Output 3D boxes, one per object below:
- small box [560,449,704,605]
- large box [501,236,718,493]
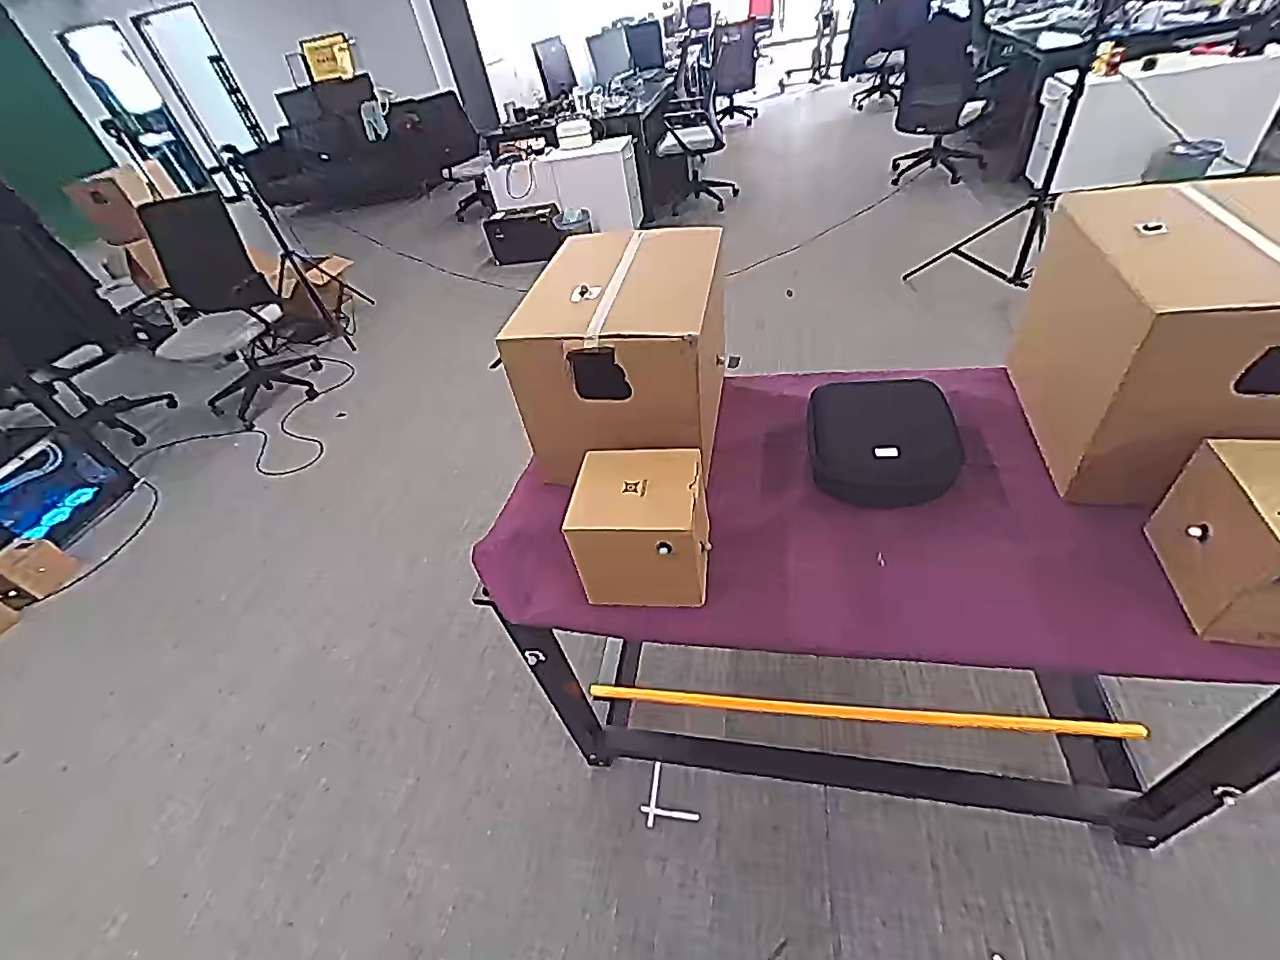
[{"bbox_3d":[0.000,0.072,0.808,0.179,0.176,0.168,-1,42,11],"label":"small box"},{"bbox_3d":[-0.015,-0.223,1.027,0.320,0.320,0.408,1,46,13],"label":"large box"}]
